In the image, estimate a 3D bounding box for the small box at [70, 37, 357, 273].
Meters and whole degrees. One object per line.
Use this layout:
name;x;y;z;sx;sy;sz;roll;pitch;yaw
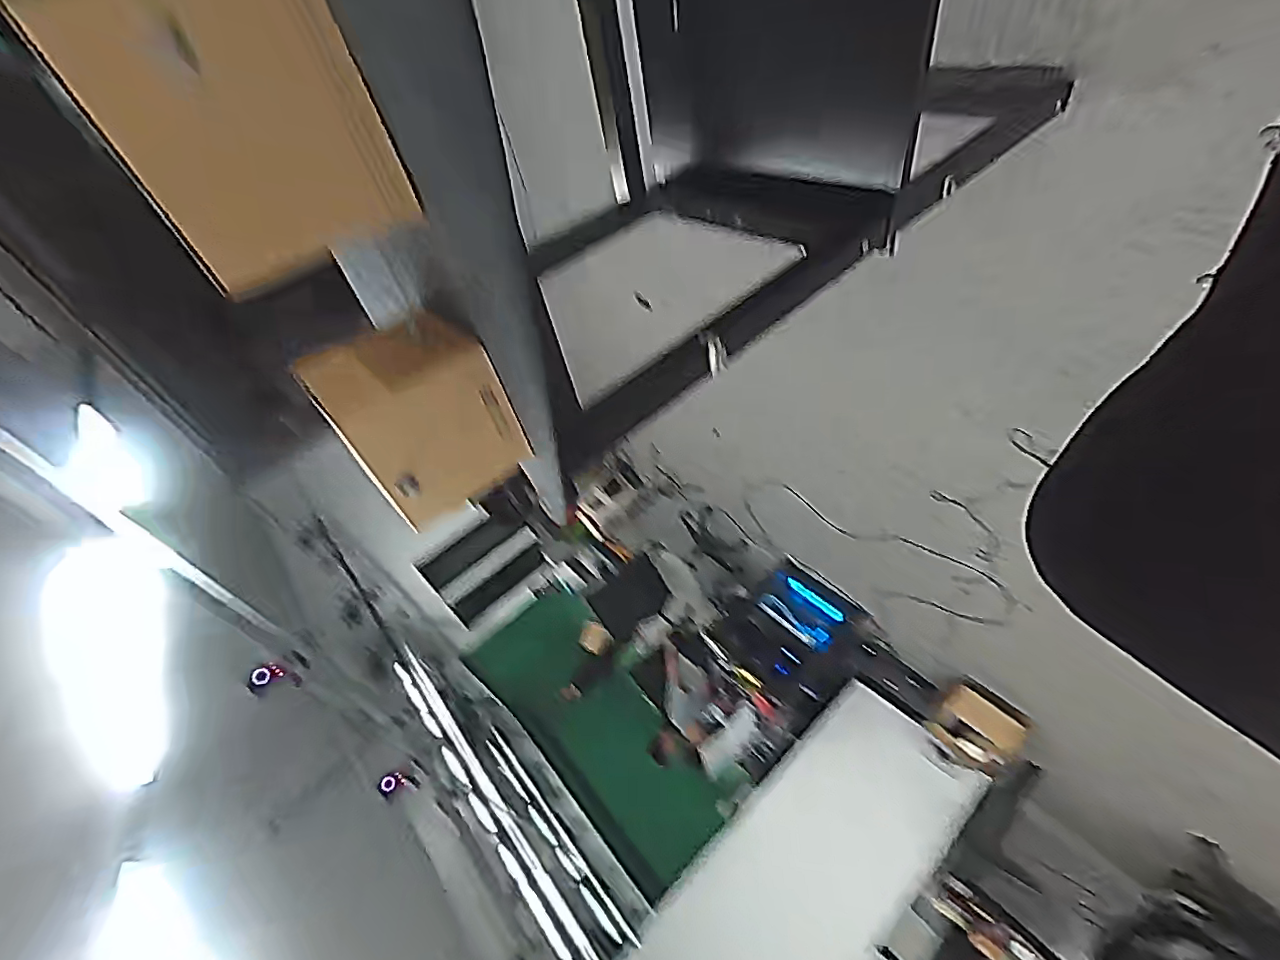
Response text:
small box;-0.461;-0.368;0.603;0.168;0.176;0.179;35;155;36

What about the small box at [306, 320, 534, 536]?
small box;-0.259;-0.072;0.658;0.179;0.176;0.168;35;154;40
